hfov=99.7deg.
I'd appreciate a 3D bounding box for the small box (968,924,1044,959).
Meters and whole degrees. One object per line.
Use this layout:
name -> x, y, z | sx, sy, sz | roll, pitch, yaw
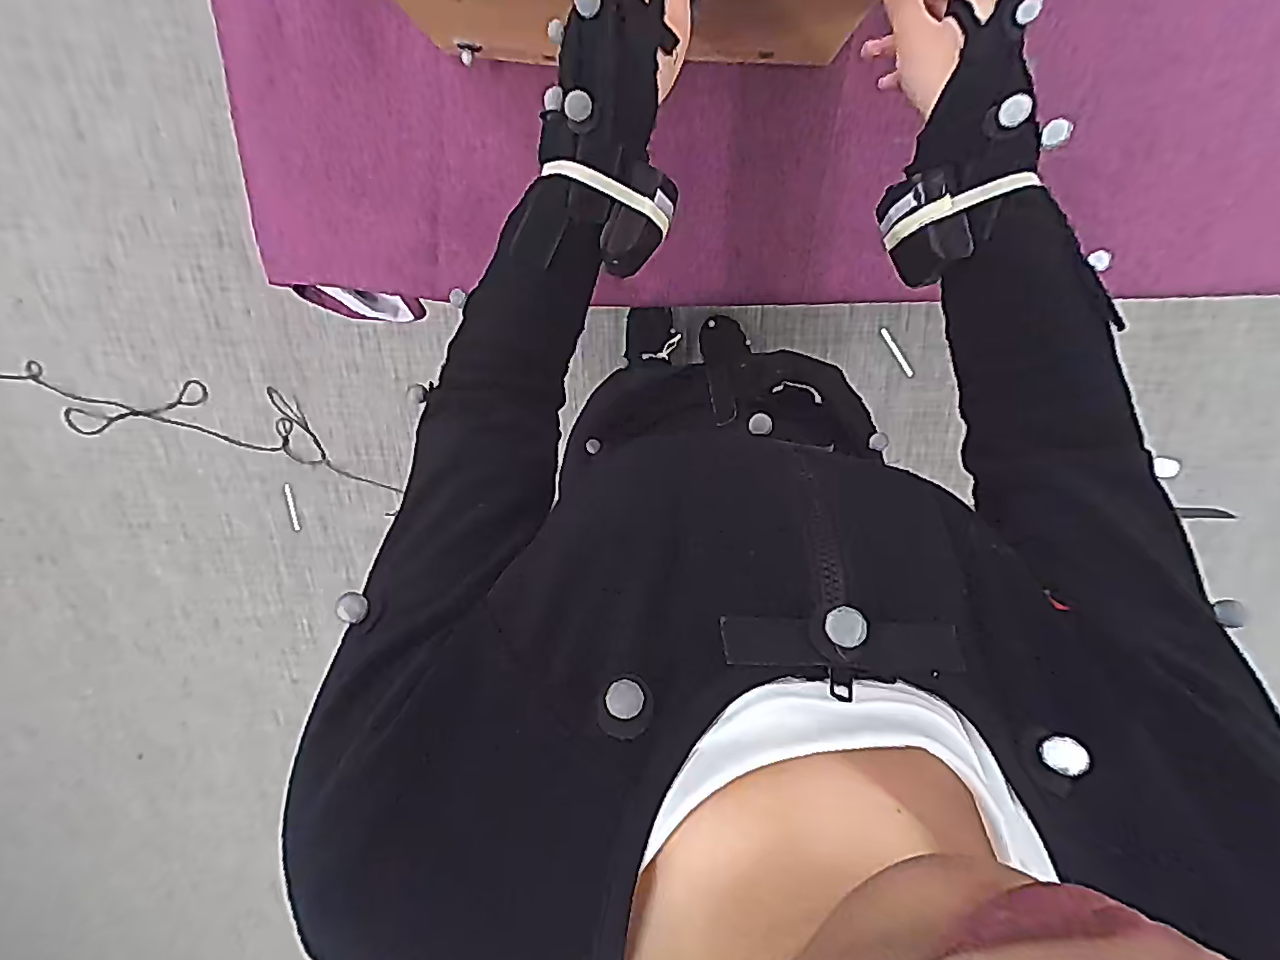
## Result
small box -> 1.125, 1.494, 1.635 | 0.168, 0.176, 0.179 | -3, 109, 3
